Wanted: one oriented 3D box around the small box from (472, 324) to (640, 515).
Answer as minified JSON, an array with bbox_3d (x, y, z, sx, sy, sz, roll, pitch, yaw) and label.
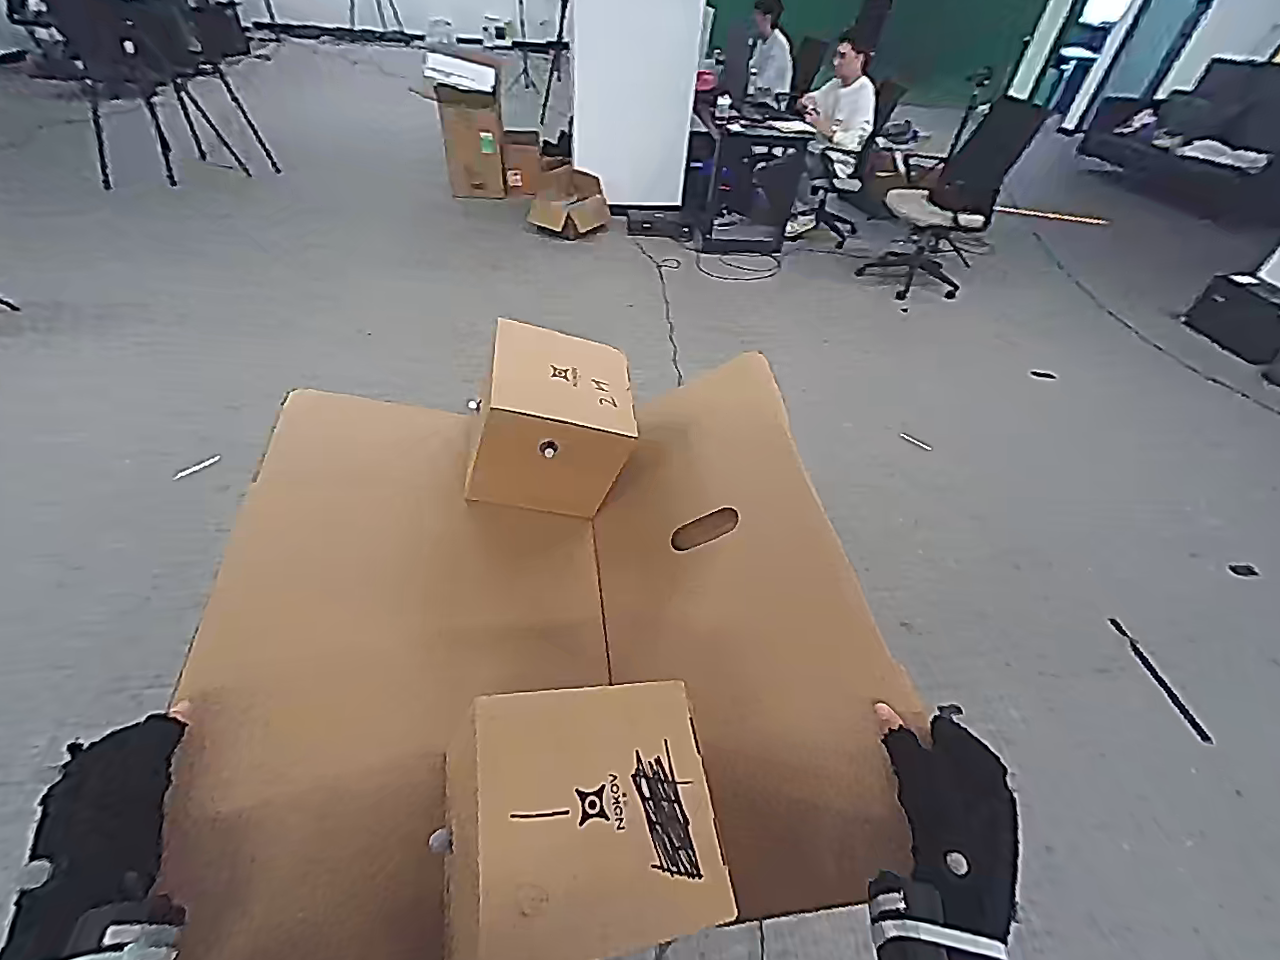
[{"bbox_3d":[-0.117,-0.071,0.716,0.179,0.176,0.168,11,48,-21],"label":"small box"}]
